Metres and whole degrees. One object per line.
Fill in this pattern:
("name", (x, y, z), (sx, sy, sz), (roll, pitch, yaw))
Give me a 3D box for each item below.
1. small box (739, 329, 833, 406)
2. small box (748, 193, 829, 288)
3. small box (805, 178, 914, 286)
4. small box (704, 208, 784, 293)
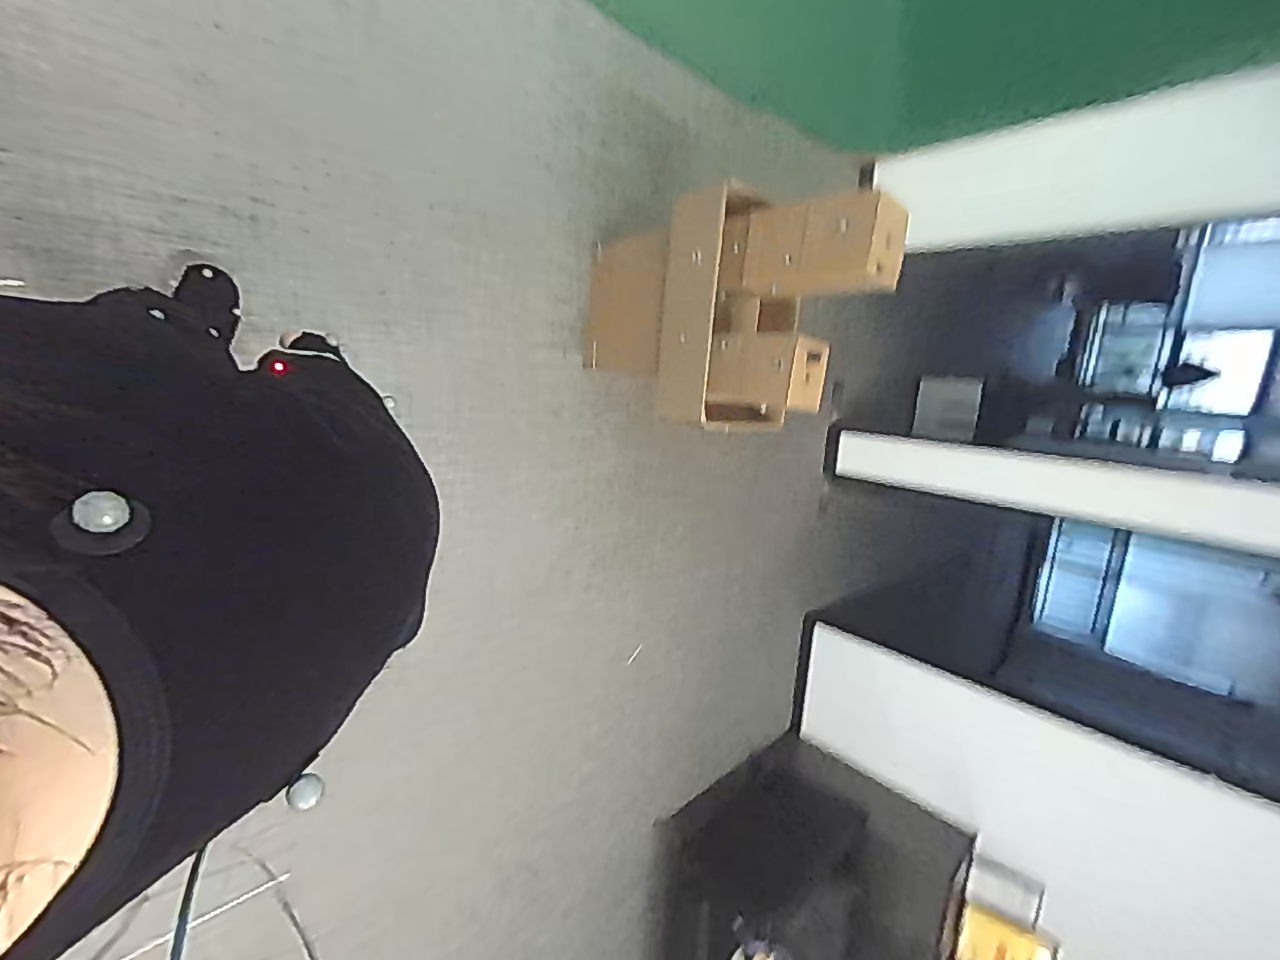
("small box", (0.381, -0.296, 1.421), (0.168, 0.176, 0.179), (-2, 103, -44))
("small box", (0.392, -0.592, 1.358), (0.168, 0.176, 0.179), (-3, 104, -43))
("small box", (0.499, -0.556, 1.239), (0.168, 0.176, 0.179), (-2, 102, -43))
("small box", (0.293, -0.622, 1.484), (0.168, 0.176, 0.179), (-4, 104, -43))
